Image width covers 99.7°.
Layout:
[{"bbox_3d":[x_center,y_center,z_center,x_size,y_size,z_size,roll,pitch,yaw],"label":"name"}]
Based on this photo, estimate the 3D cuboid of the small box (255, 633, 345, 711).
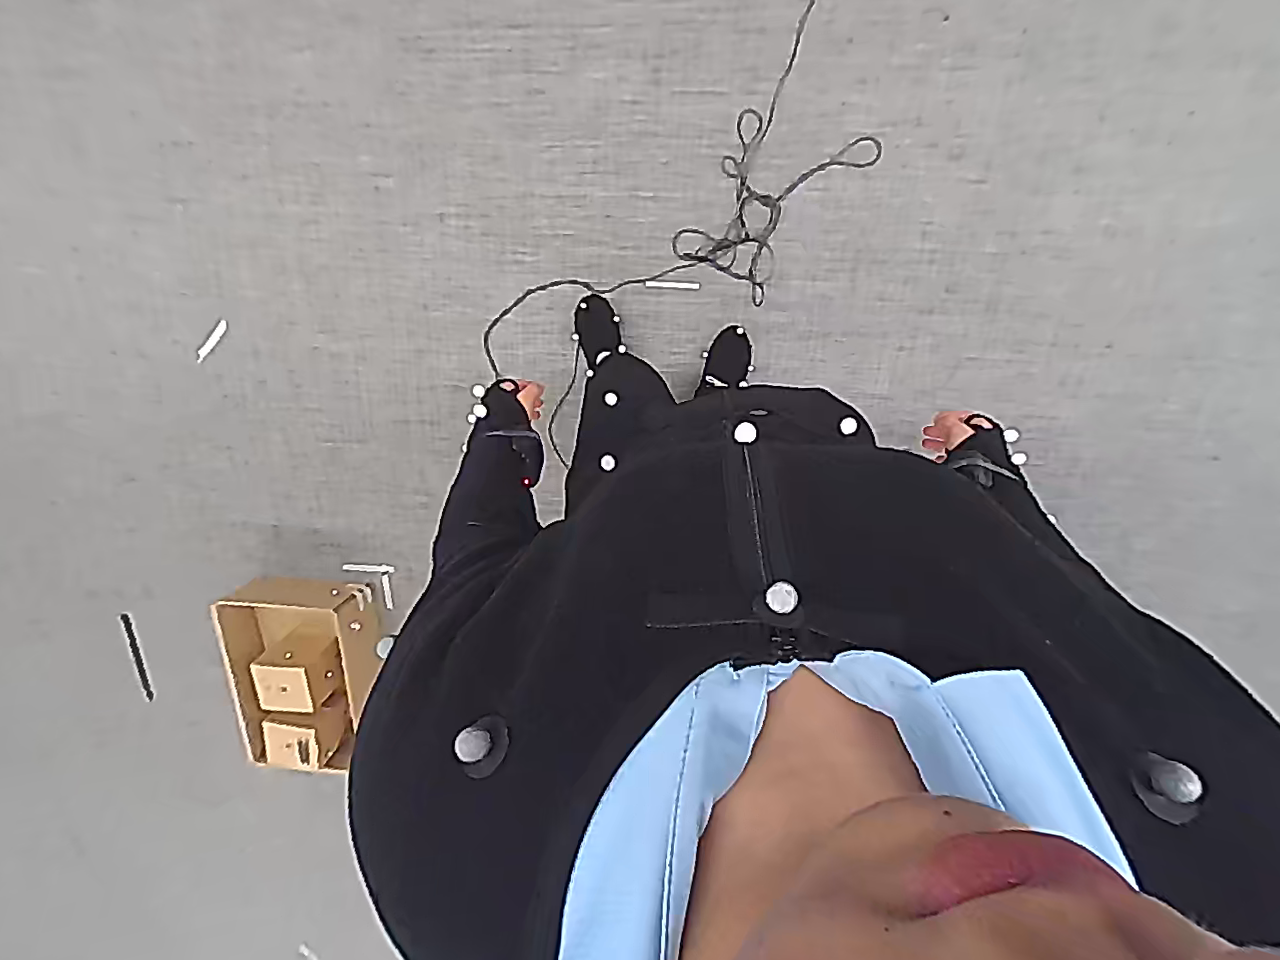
[{"bbox_3d":[-1.070,0.607,1.721,0.179,0.176,0.168,2,108,5],"label":"small box"}]
